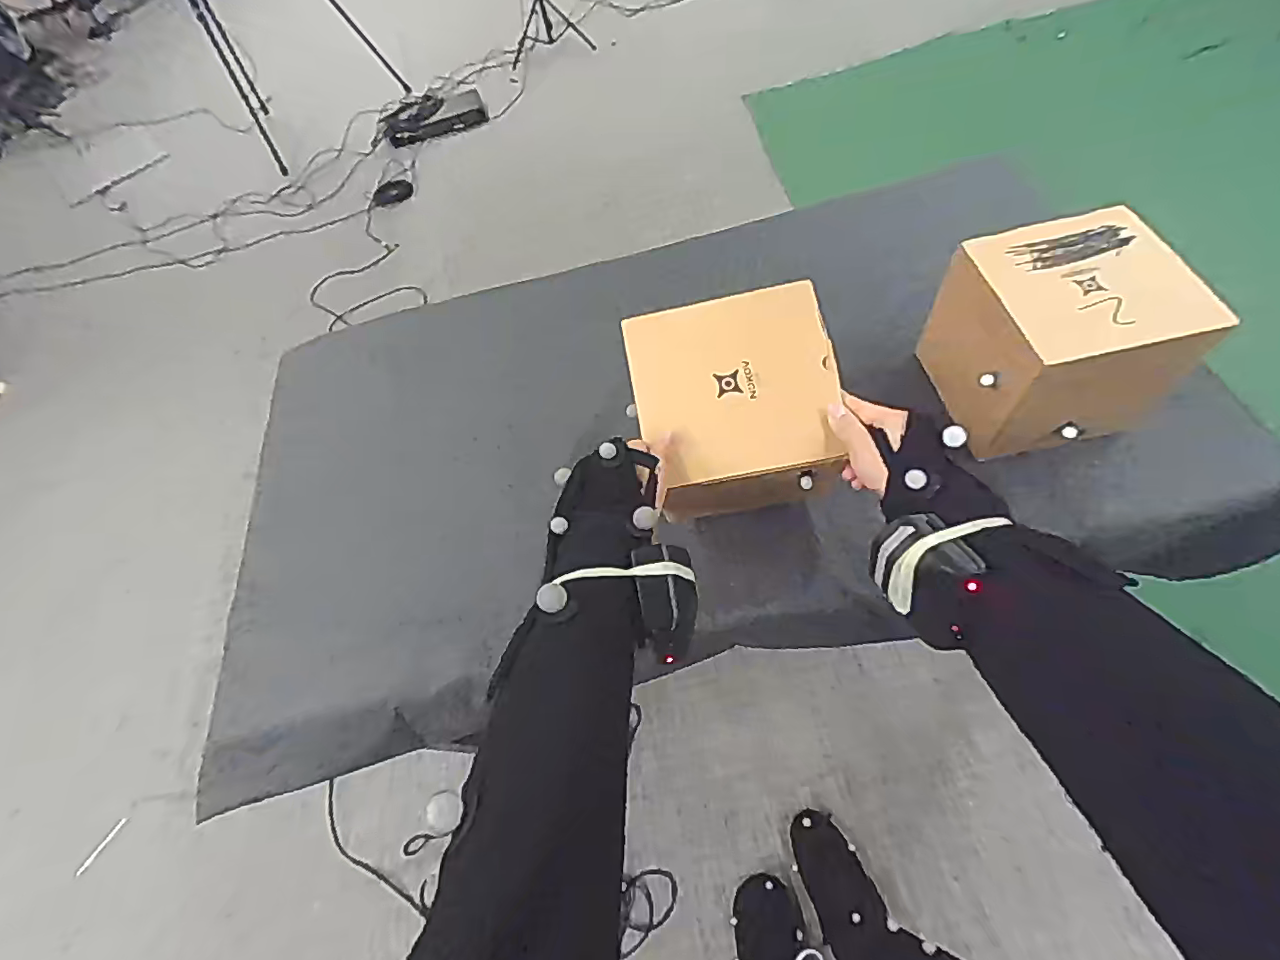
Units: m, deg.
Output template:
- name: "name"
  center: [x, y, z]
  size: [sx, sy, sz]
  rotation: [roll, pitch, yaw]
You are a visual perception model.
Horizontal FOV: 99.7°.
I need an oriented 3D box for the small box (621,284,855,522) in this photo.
- name: "small box"
  center: [0.088, -0.061, 0.537]
  size: [0.179, 0.176, 0.168]
  rotation: [-10, 75, 4]
